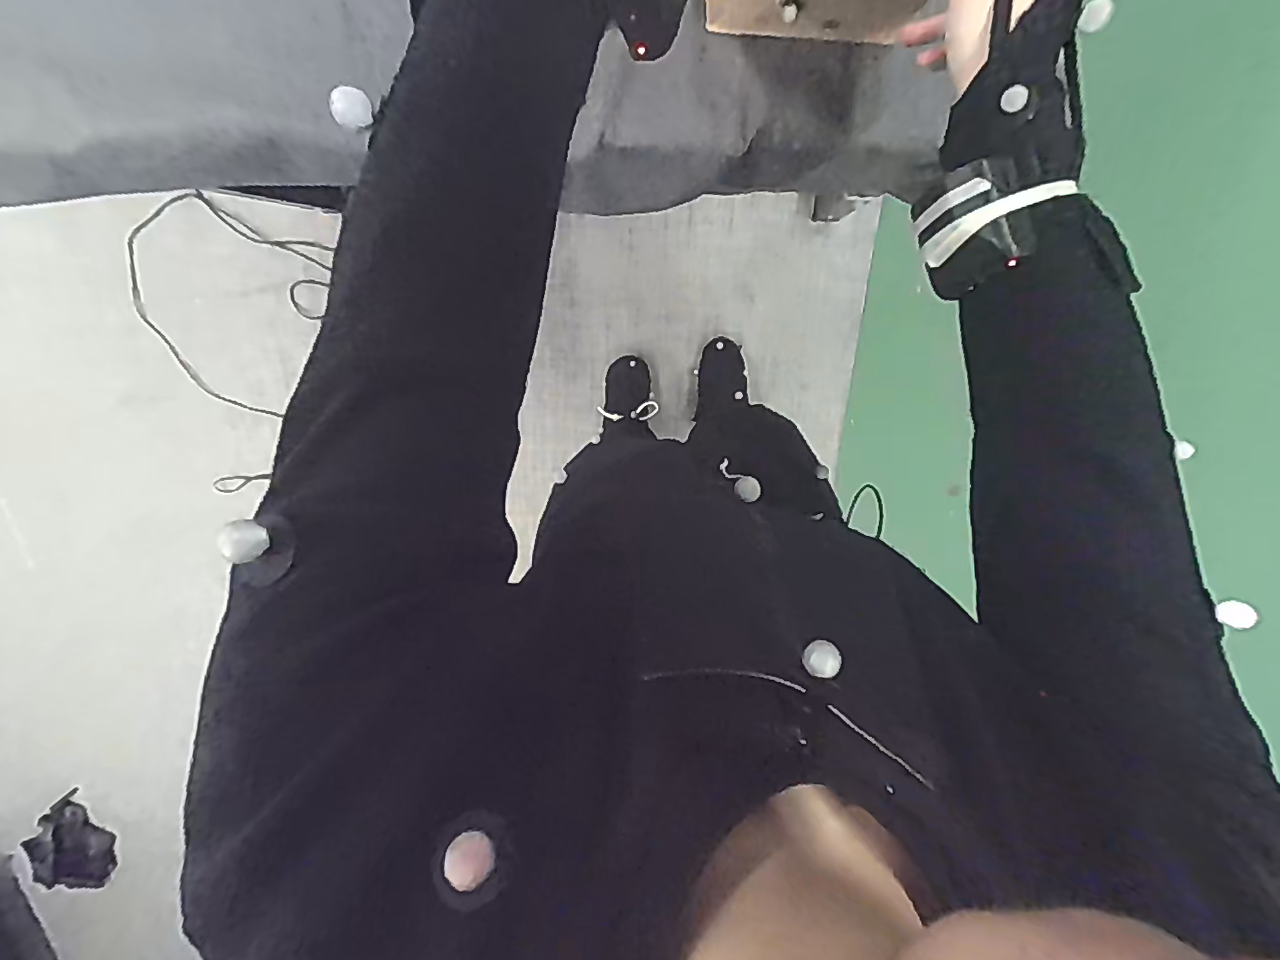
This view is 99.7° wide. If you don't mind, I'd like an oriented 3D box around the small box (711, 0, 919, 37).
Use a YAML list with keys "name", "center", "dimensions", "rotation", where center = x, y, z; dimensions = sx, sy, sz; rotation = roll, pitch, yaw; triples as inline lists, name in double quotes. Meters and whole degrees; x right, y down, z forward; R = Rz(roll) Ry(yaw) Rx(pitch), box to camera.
- name: "small box"
  center: [0.134, -0.436, 0.353]
  dimensions: [0.168, 0.176, 0.179]
  rotation: [8, 110, 5]
